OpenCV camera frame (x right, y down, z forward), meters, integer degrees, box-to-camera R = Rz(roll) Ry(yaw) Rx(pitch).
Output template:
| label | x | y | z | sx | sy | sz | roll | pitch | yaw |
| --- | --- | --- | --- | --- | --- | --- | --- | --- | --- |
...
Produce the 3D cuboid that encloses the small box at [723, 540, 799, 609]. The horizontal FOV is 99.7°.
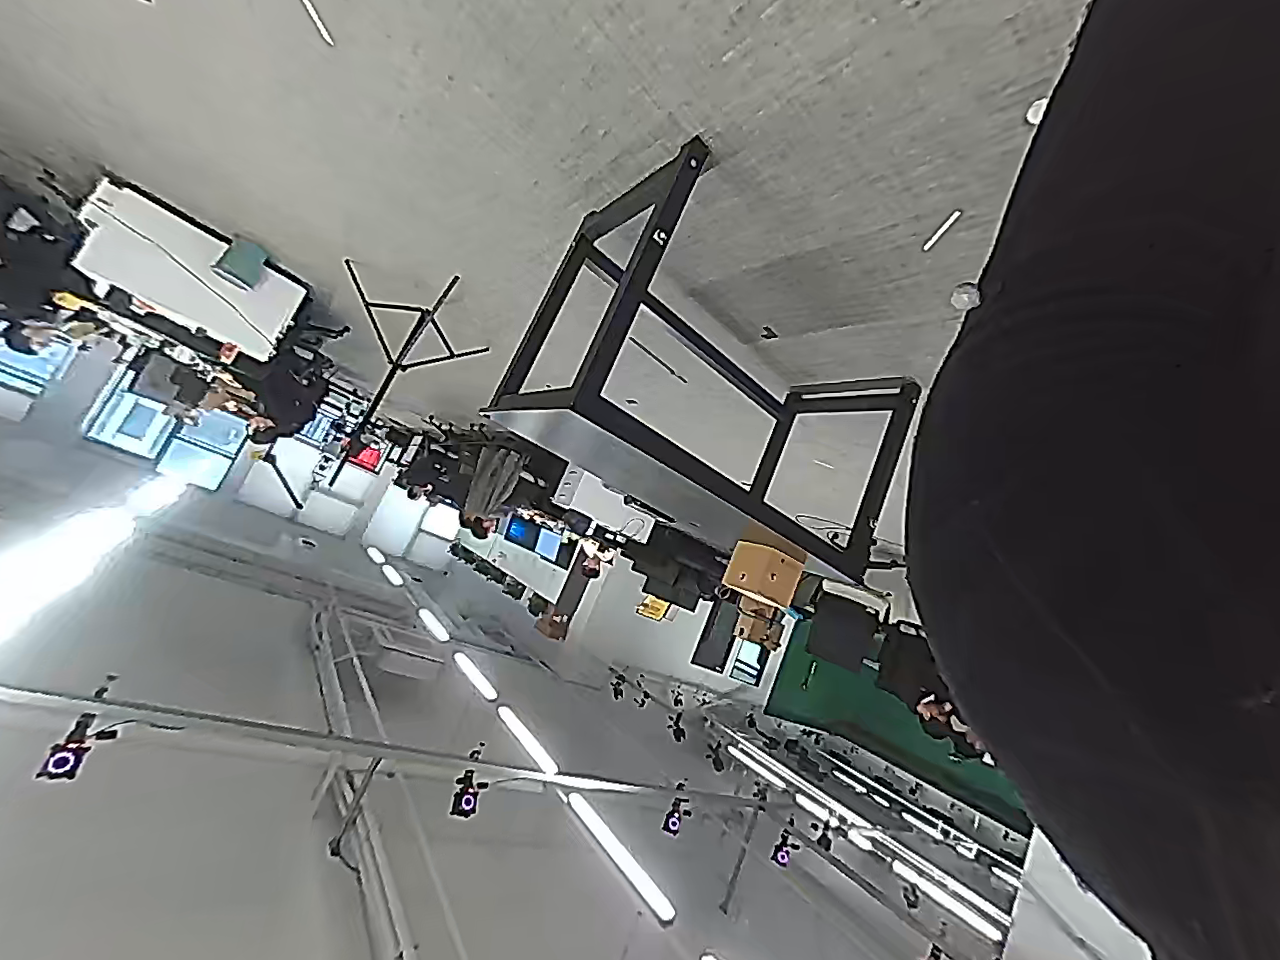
| label | x | y | z | sx | sy | sz | roll | pitch | yaw |
| --- | --- | --- | --- | --- | --- | --- | --- | --- | --- |
| small box | 0.420 | 0.316 | 1.847 | 0.168 | 0.176 | 0.179 | 30 | 169 | -27 |
